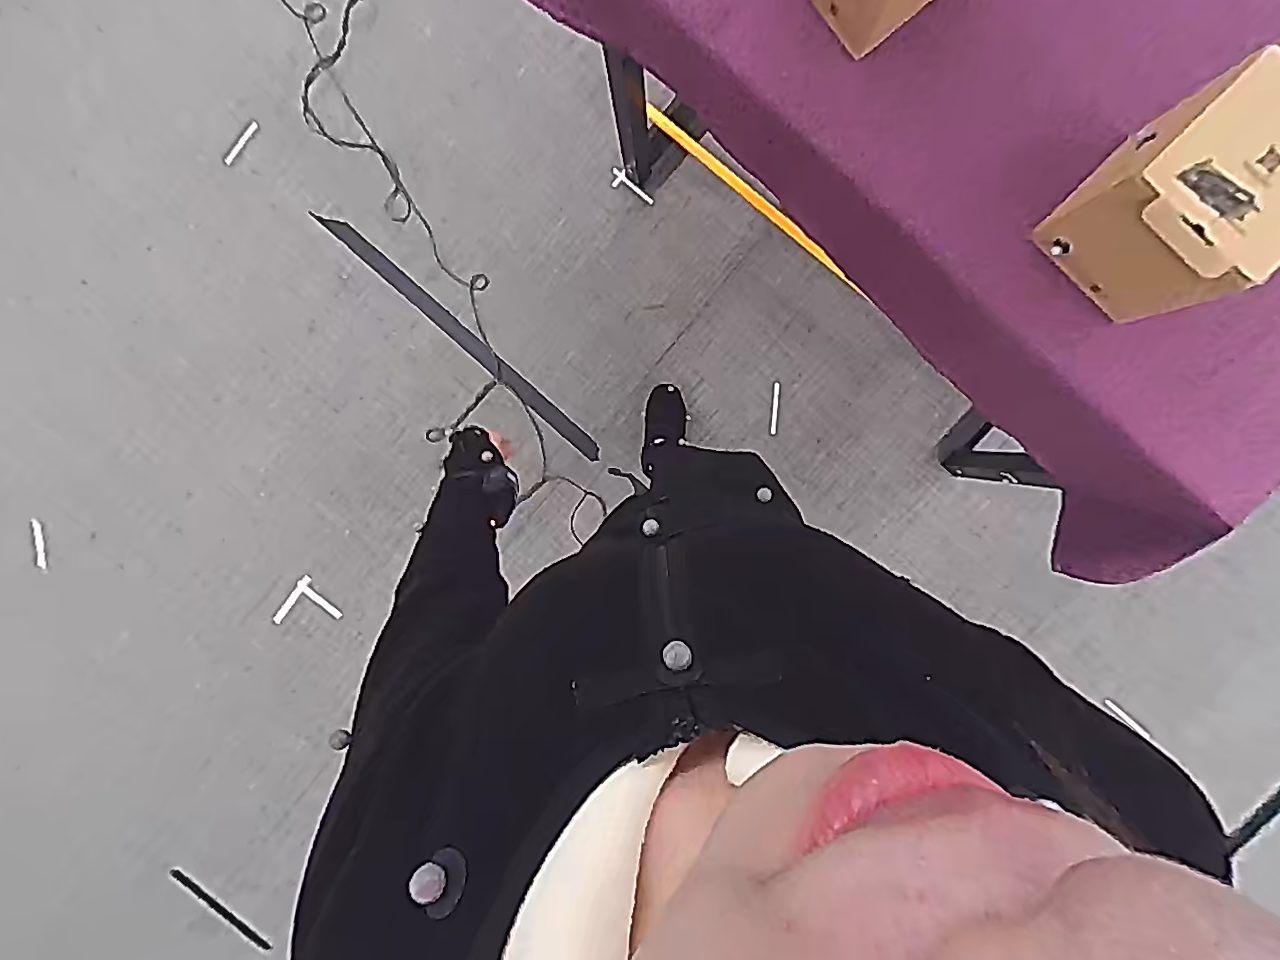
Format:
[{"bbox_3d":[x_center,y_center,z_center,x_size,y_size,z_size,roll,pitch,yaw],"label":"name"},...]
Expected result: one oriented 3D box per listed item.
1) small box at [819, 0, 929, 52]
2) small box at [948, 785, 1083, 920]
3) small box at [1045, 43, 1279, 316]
[{"bbox_3d":[0.293,-0.651,0.610,0.179,0.176,0.168,-37,92,5],"label":"small box"},{"bbox_3d":[0.846,0.847,1.242,0.168,0.176,0.179,20,98,5],"label":"small box"},{"bbox_3d":[0.616,-0.317,0.616,0.168,0.176,0.179,44,94,-1],"label":"small box"}]
